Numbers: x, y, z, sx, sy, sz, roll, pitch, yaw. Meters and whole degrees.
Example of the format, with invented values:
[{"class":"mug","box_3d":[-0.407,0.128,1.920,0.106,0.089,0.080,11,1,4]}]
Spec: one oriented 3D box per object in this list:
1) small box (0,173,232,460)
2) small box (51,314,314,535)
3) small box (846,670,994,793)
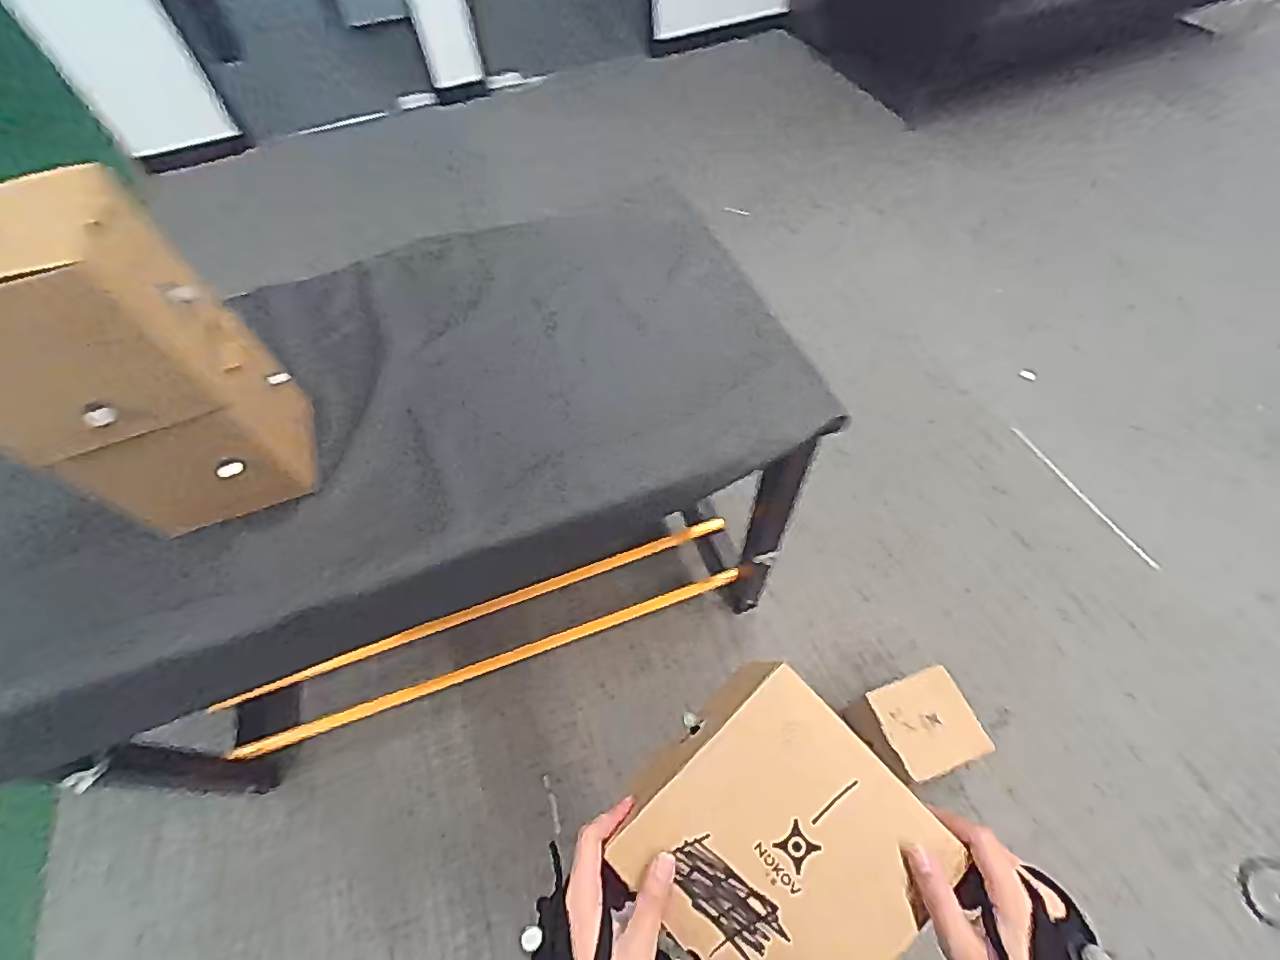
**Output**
[{"class":"small box","box_3d":[-0.523,-0.149,0.508,0.179,0.176,0.168,-21,57,-12]},{"class":"small box","box_3d":[-0.517,-0.062,0.647,0.179,0.176,0.168,-20,57,-9]},{"class":"small box","box_3d":[0.548,0.507,1.085,0.179,0.176,0.168,-18,57,-8]}]
